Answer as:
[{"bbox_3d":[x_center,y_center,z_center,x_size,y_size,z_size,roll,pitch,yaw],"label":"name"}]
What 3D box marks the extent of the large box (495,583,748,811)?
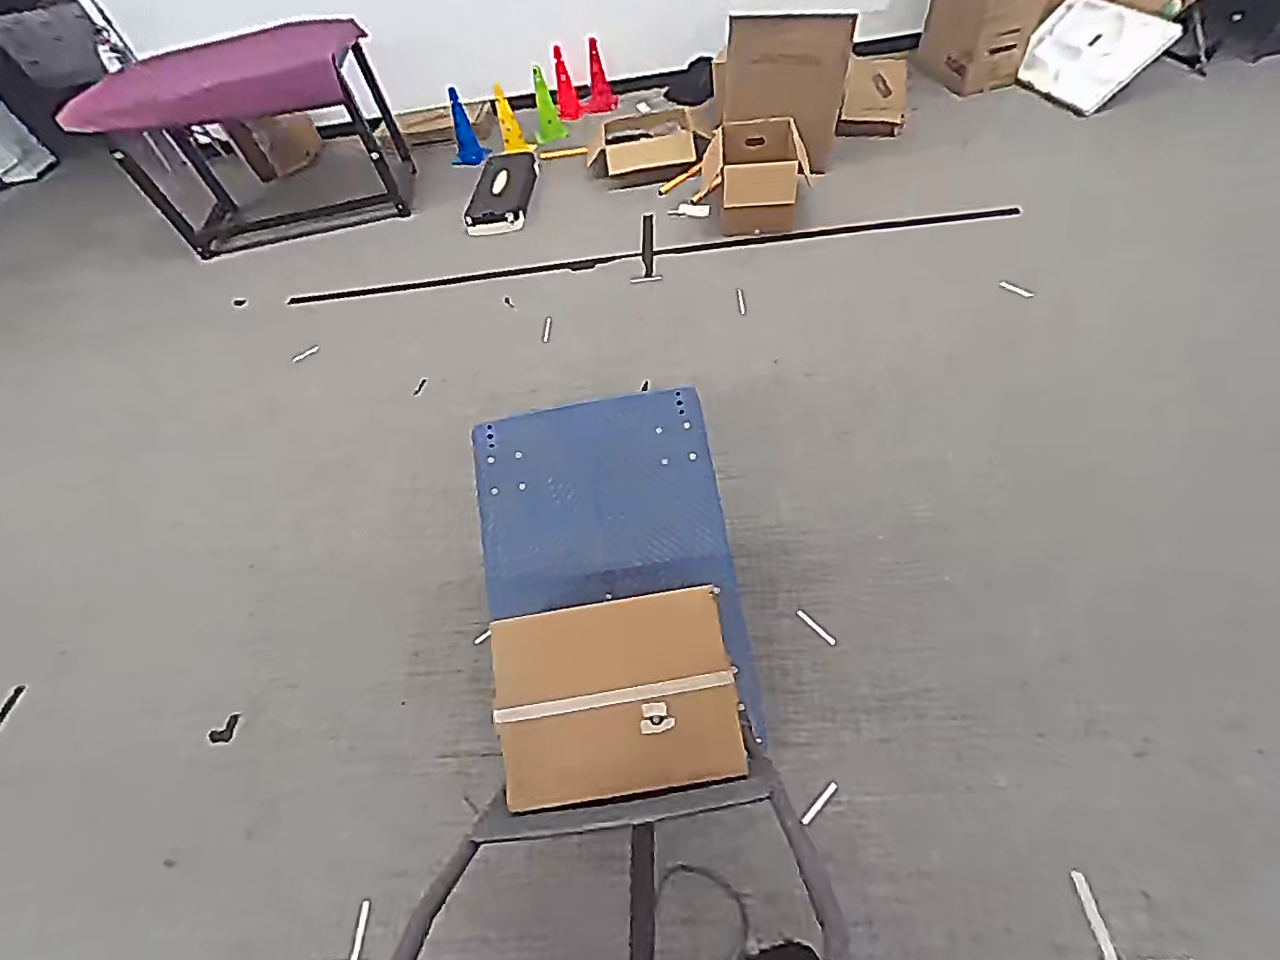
[{"bbox_3d":[-0.035,0.406,1.085,0.408,0.320,0.320,-11,78,0],"label":"large box"}]
